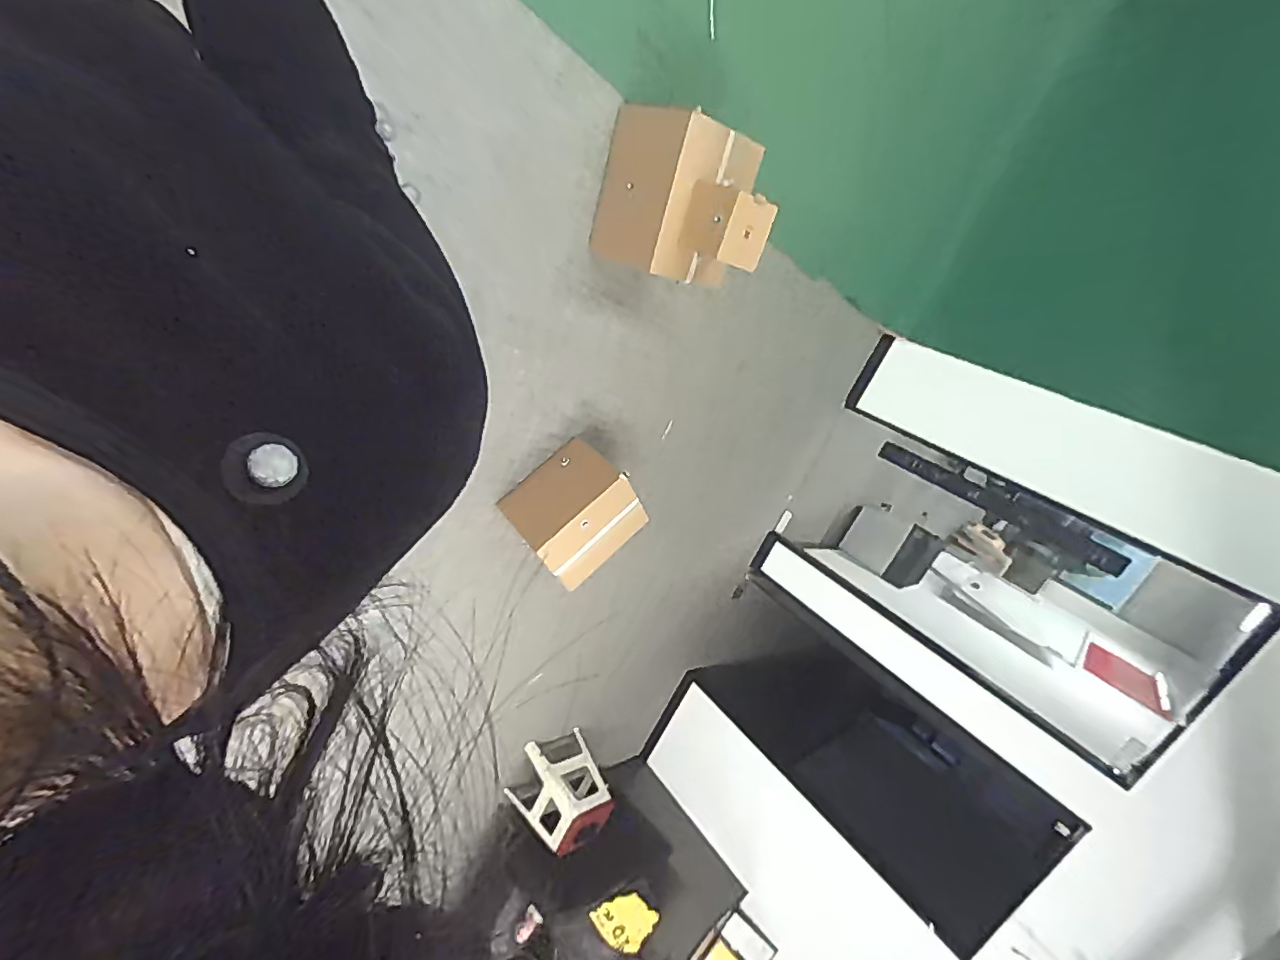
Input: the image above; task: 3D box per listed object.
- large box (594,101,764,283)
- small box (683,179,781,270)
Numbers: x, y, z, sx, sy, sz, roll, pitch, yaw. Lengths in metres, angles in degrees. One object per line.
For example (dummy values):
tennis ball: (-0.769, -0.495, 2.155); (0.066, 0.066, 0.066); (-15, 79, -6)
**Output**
large box: (0.100, -0.843, 1.613); (0.320, 0.320, 0.408); (-8, 124, -42)
small box: (0.244, -0.698, 1.473); (0.168, 0.176, 0.179); (-2, 122, -42)
